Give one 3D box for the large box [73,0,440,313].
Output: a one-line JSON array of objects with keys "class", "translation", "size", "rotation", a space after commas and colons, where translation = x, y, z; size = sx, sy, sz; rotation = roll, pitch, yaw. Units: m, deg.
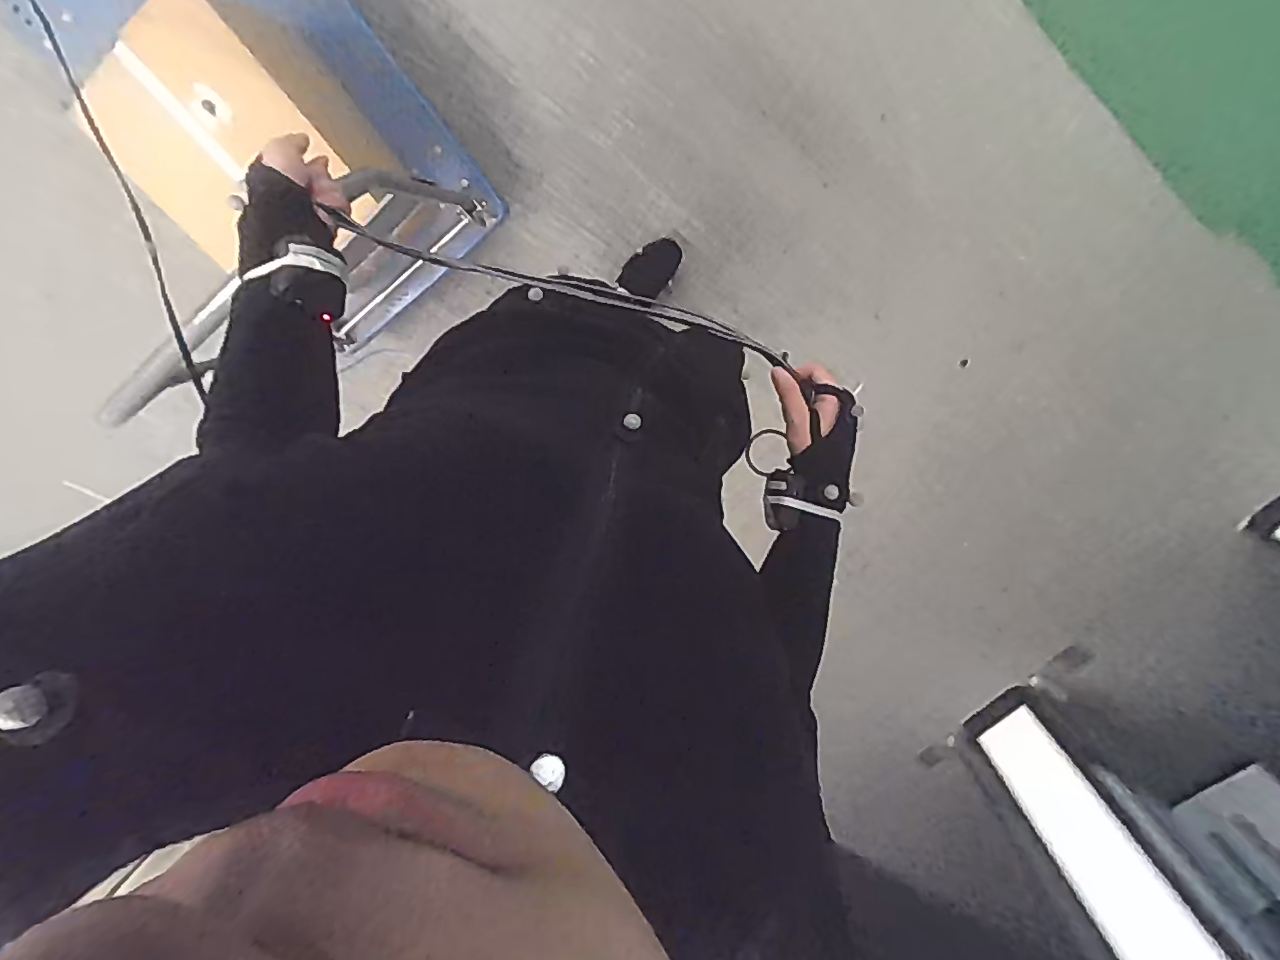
[{"class": "large box", "translation": [-0.675, -0.597, 1.033], "size": [0.320, 0.320, 0.408], "rotation": [-32, 113, 15]}]
